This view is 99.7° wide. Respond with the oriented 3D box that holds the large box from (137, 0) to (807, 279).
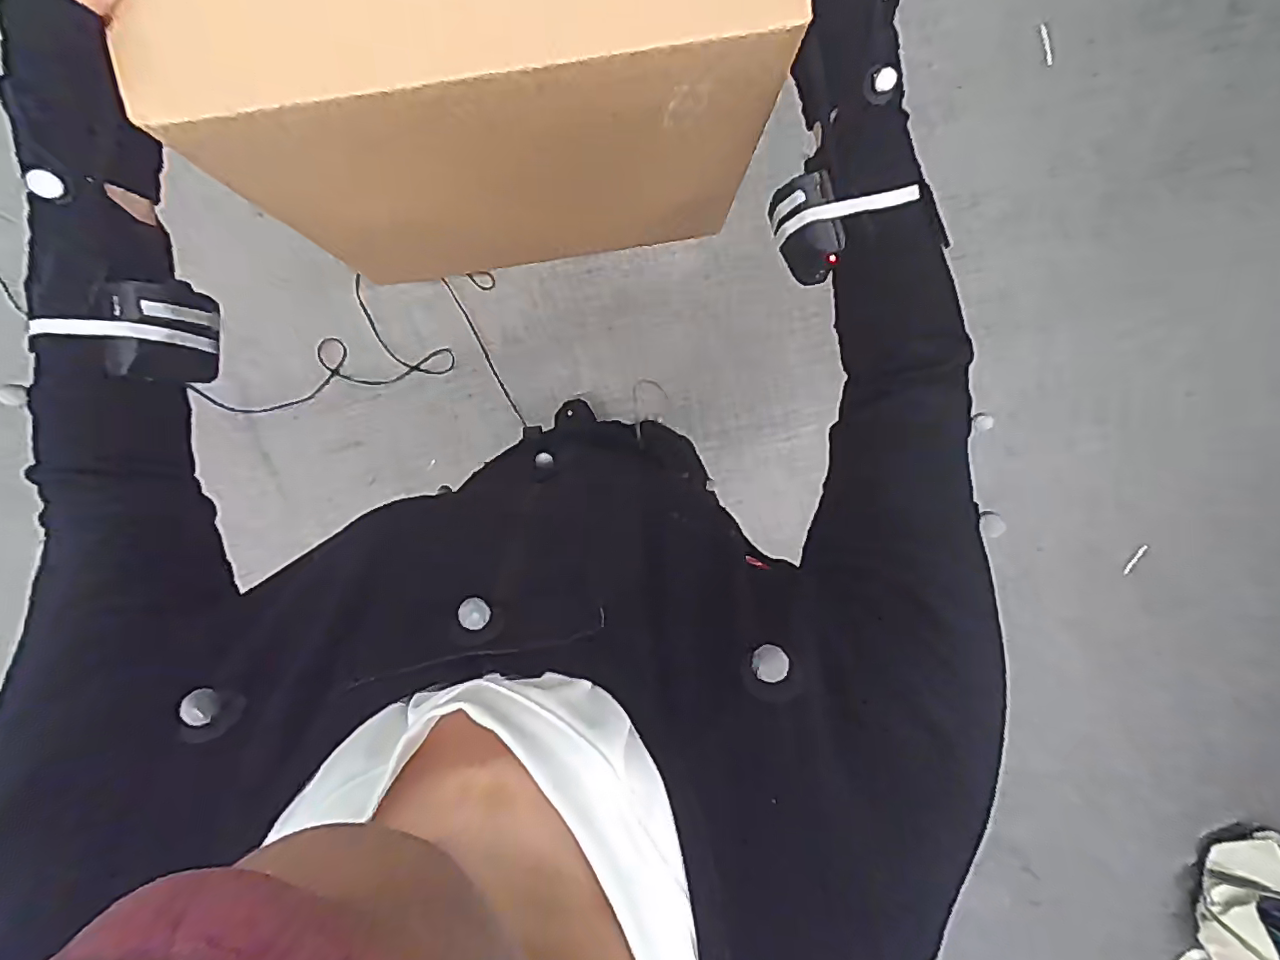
[{"bbox_3d":[-0.124,-0.405,0.470,0.408,0.320,0.320,-10,94,-2],"label":"large box"}]
